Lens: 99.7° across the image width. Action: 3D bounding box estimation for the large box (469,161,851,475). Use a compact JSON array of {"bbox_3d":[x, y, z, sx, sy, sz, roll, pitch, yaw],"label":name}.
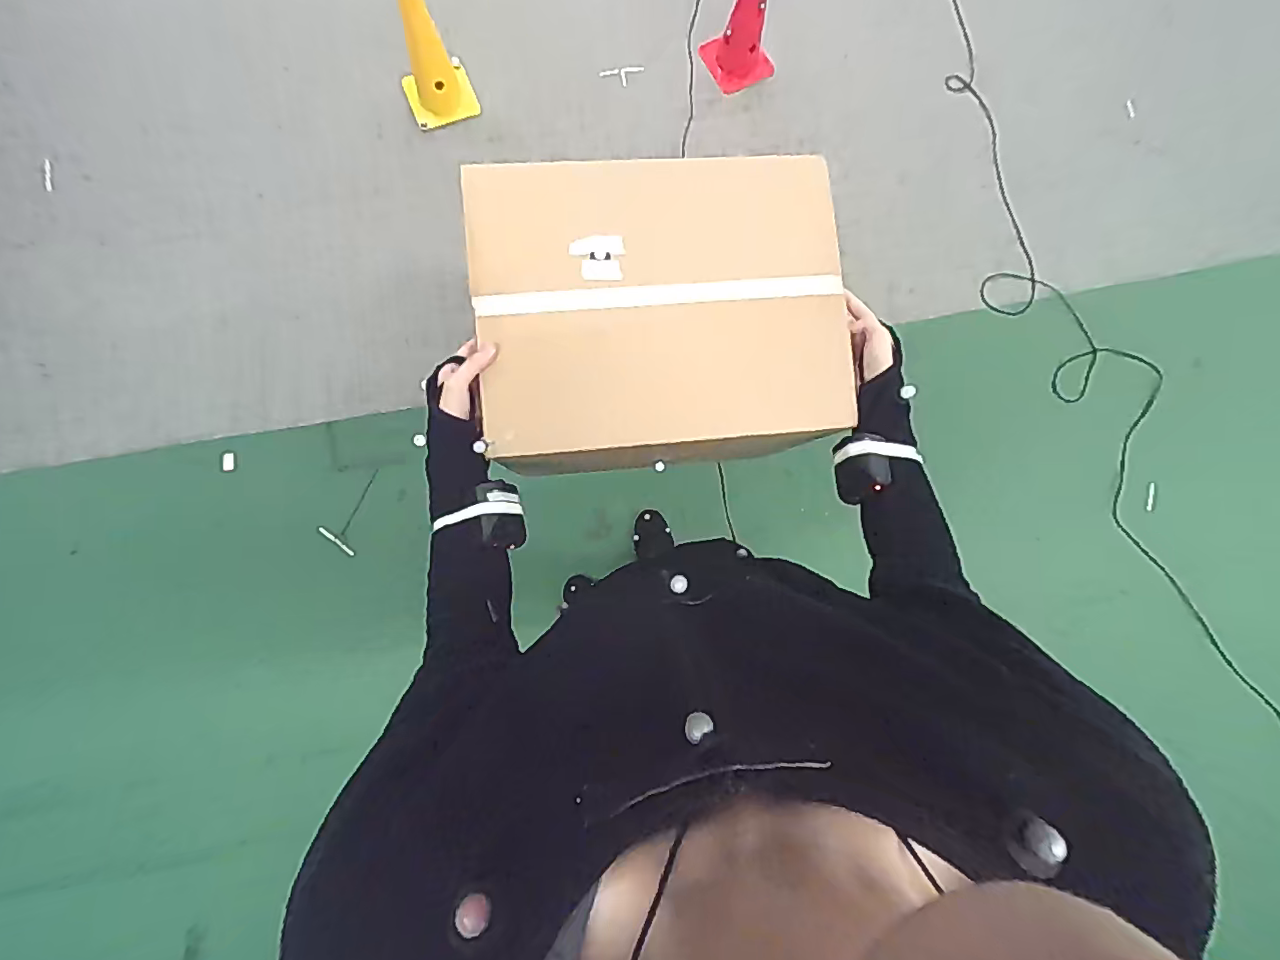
[{"bbox_3d":[0.014,-0.185,0.742,0.408,0.320,0.320,-5,86,-5],"label":"large box"}]
